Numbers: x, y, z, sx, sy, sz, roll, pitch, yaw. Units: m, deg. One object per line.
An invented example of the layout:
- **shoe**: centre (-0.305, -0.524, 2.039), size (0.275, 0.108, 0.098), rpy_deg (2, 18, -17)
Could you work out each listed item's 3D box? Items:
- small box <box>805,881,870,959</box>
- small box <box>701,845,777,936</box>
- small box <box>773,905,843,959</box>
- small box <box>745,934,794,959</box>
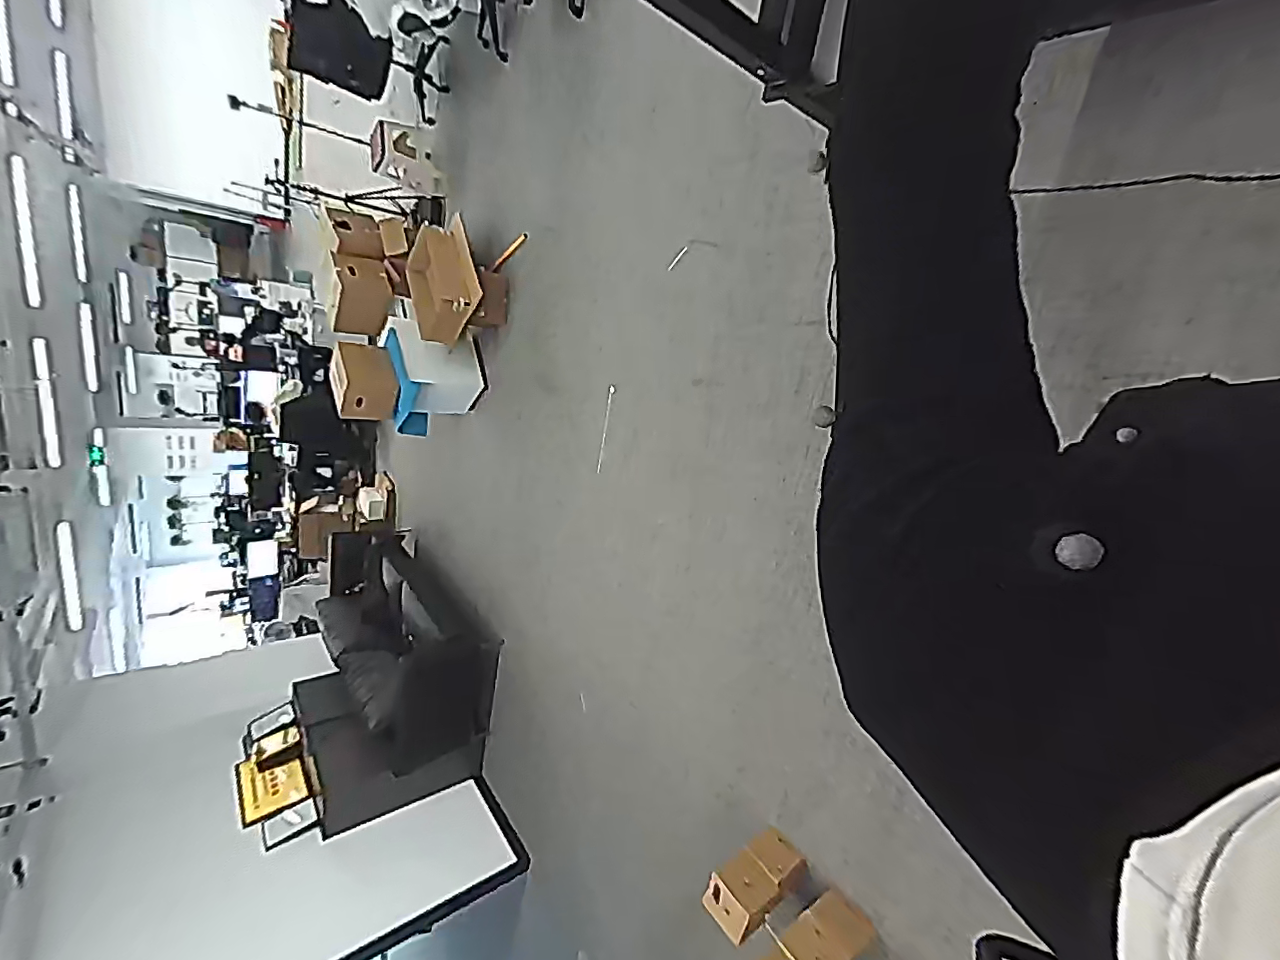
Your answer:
- **small box**: centre (0.647, 1.516, 1.827), size (0.168, 0.176, 0.179), rpy_deg (32, 116, 45)
- **small box**: centre (0.352, 1.445, 1.921), size (0.179, 0.176, 0.168), rpy_deg (32, 117, 44)
- **small box**: centre (0.522, 1.522, 1.726), size (0.168, 0.176, 0.179), rpy_deg (28, 114, 46)
- **small box**: centre (0.394, 1.535, 1.622), size (0.179, 0.176, 0.168), rpy_deg (29, 114, 45)
